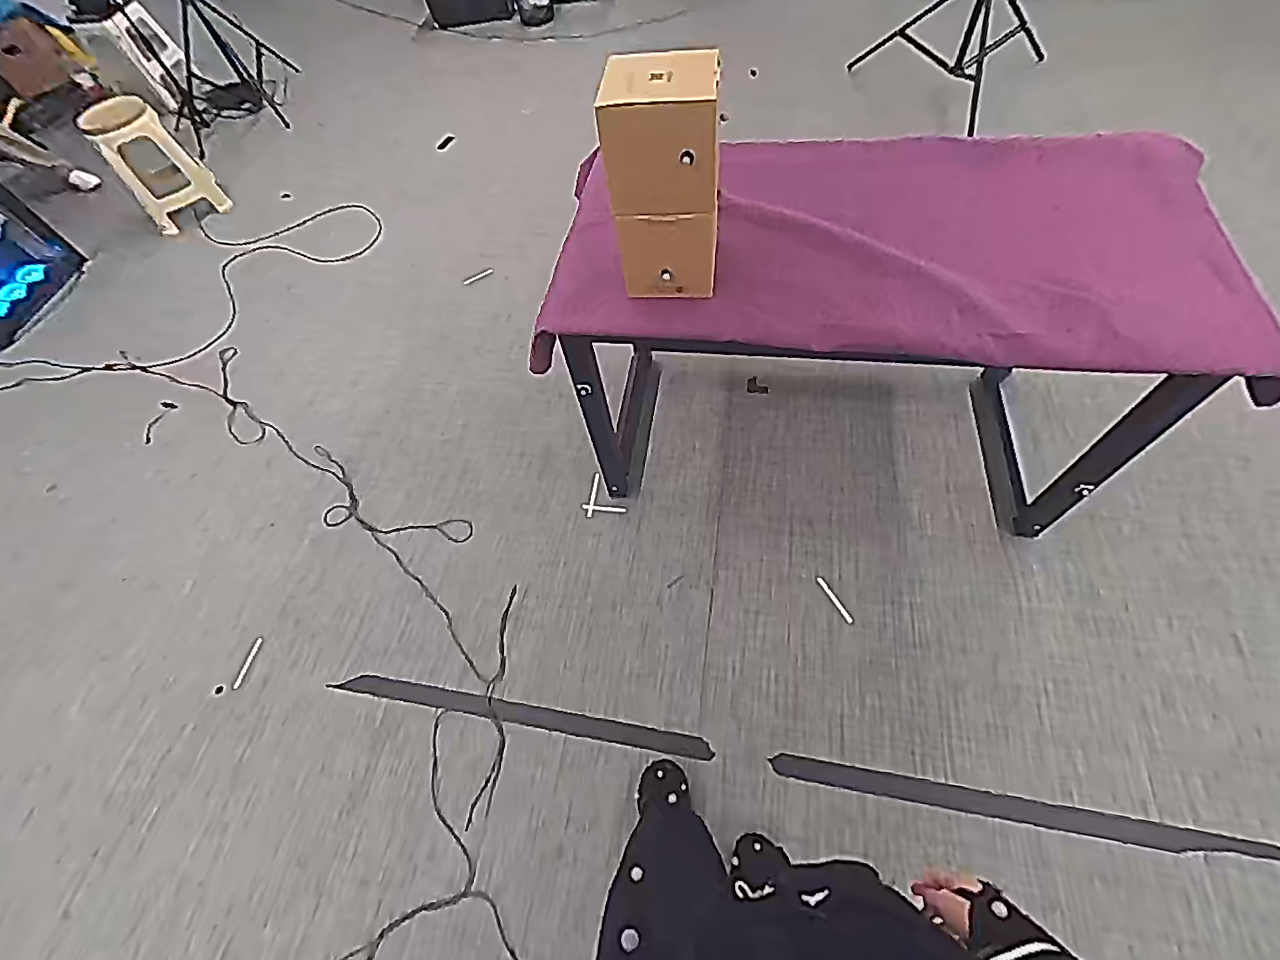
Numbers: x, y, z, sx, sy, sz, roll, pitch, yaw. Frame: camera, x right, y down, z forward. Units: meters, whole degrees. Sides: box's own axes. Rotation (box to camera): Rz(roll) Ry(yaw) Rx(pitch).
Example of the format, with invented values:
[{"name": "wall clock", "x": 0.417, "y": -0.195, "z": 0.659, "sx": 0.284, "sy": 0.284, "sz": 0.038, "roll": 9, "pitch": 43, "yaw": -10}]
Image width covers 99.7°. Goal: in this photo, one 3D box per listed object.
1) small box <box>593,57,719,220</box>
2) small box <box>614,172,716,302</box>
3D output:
[{"name": "small box", "x": 0.035, "y": -0.542, "z": 0.871, "sx": 0.179, "sy": 0.176, "sz": 0.168, "roll": 1, "pitch": 57, "yaw": 9}, {"name": "small box", "x": 0.054, "y": -0.458, "z": 1.008, "sx": 0.168, "sy": 0.176, "sz": 0.179, "roll": 3, "pitch": 60, "yaw": 9}]
